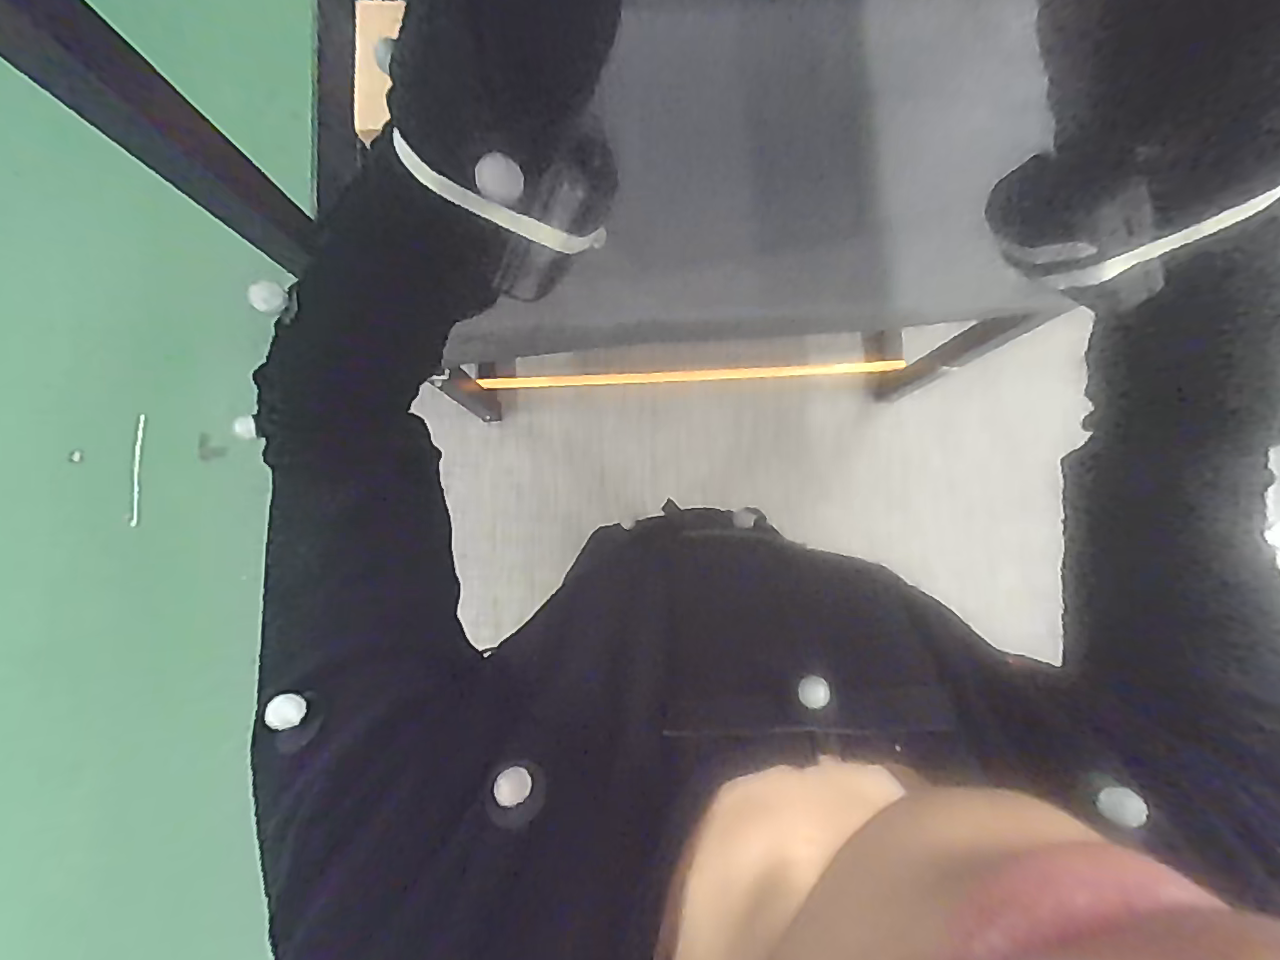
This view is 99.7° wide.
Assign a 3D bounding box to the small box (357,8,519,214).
[{"bbox_3d":[-0.269,-0.503,0.755,0.168,0.176,0.179,-2,84,0],"label":"small box"}]
